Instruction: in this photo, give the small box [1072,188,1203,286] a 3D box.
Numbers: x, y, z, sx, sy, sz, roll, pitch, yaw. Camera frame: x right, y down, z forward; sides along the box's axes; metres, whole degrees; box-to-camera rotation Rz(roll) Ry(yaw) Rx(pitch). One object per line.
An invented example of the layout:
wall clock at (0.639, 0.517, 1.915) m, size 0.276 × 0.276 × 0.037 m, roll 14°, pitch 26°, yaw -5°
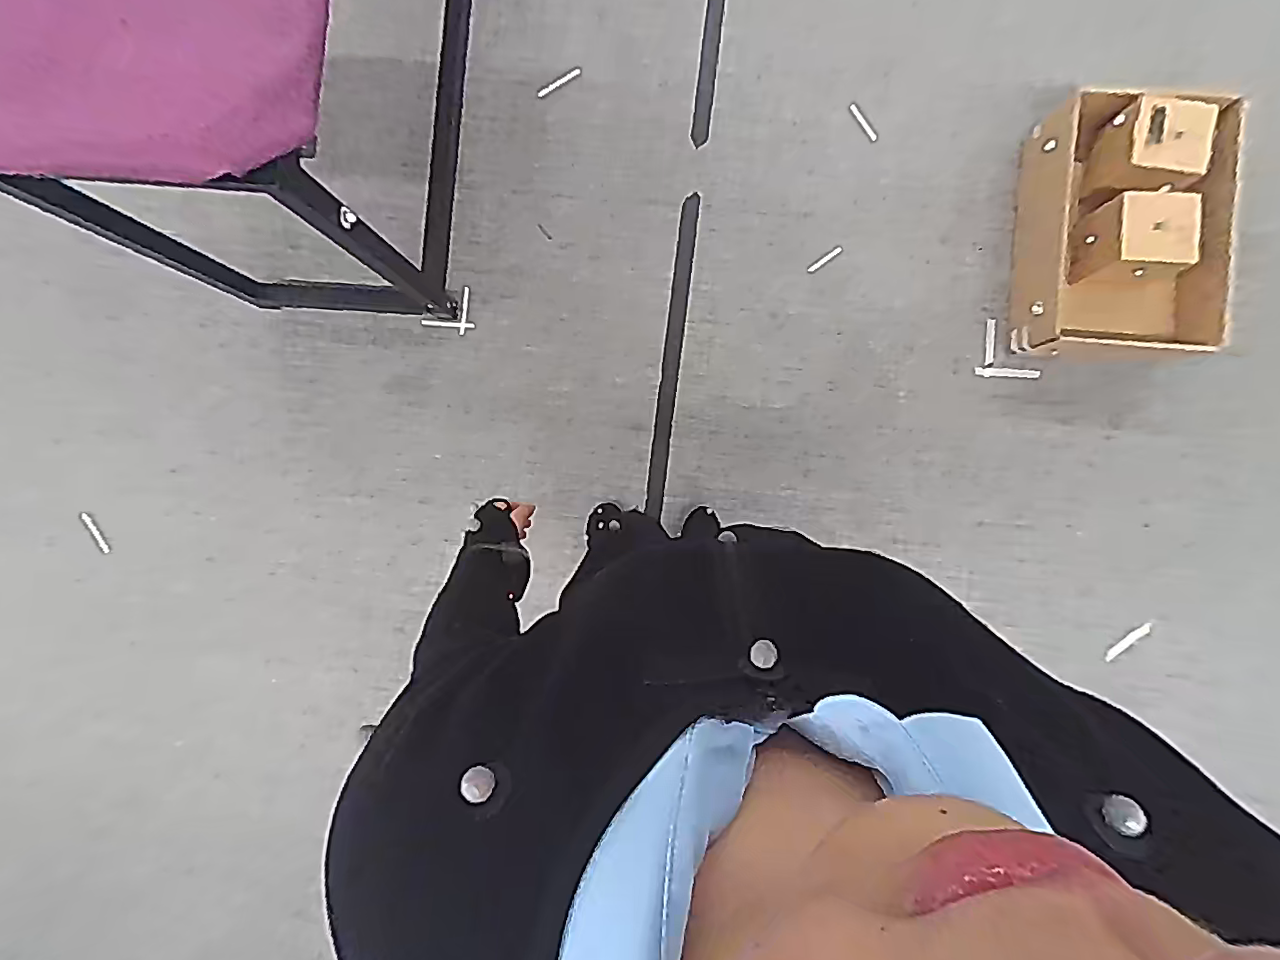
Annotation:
small box at (1.219, -0.593, 1.338) m, size 0.179 × 0.176 × 0.168 m, roll 4°, pitch 90°, yaw 3°
